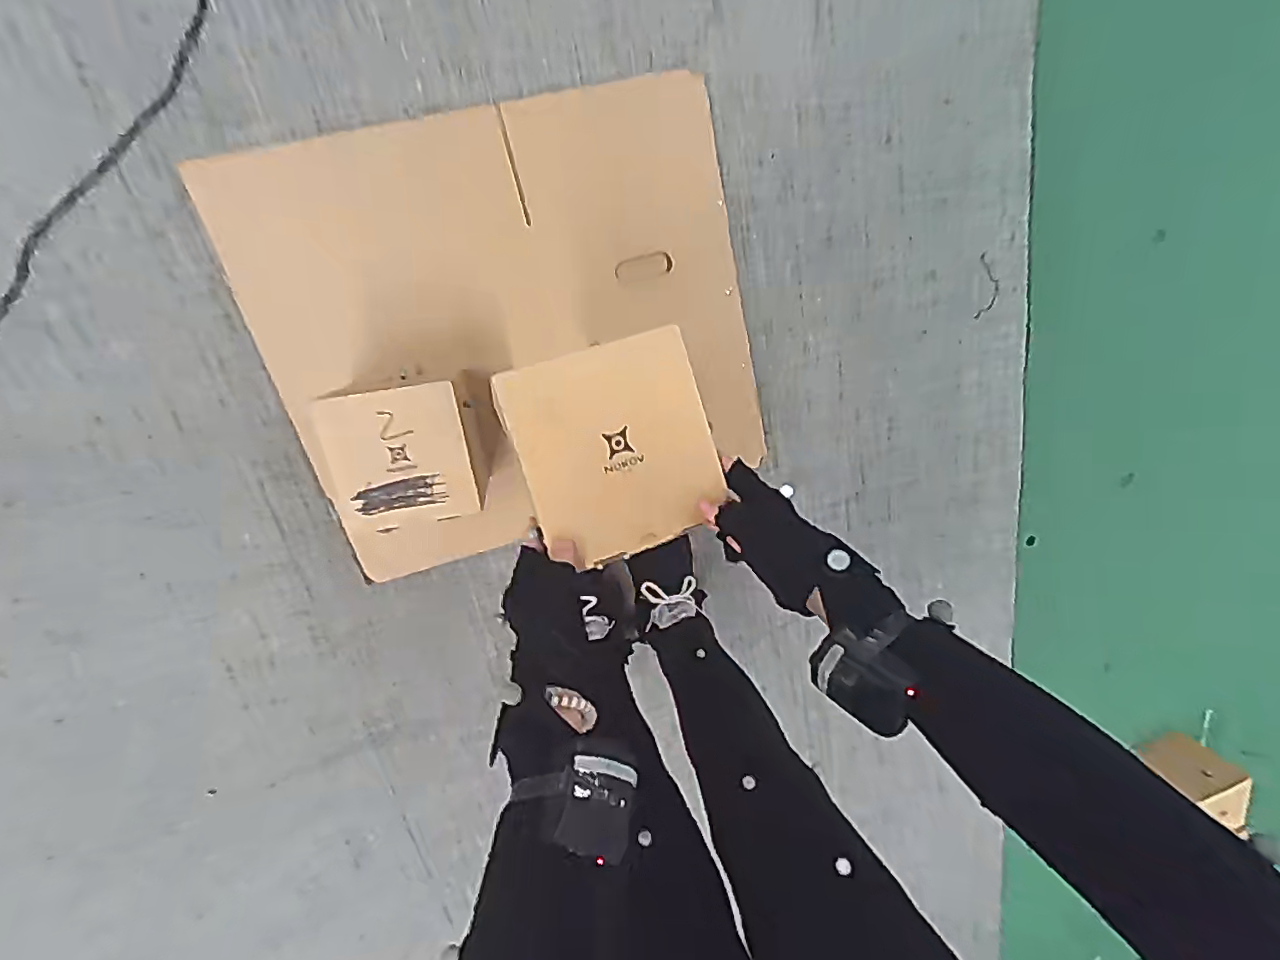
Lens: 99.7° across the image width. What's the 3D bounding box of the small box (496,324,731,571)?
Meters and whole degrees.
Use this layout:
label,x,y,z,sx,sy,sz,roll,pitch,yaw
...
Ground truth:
label,x,y,z,sx,sy,sz,roll,pitch,yaw
small box,-0.038,-0.031,0.535,0.168,0.176,0.179,-20,97,-13
